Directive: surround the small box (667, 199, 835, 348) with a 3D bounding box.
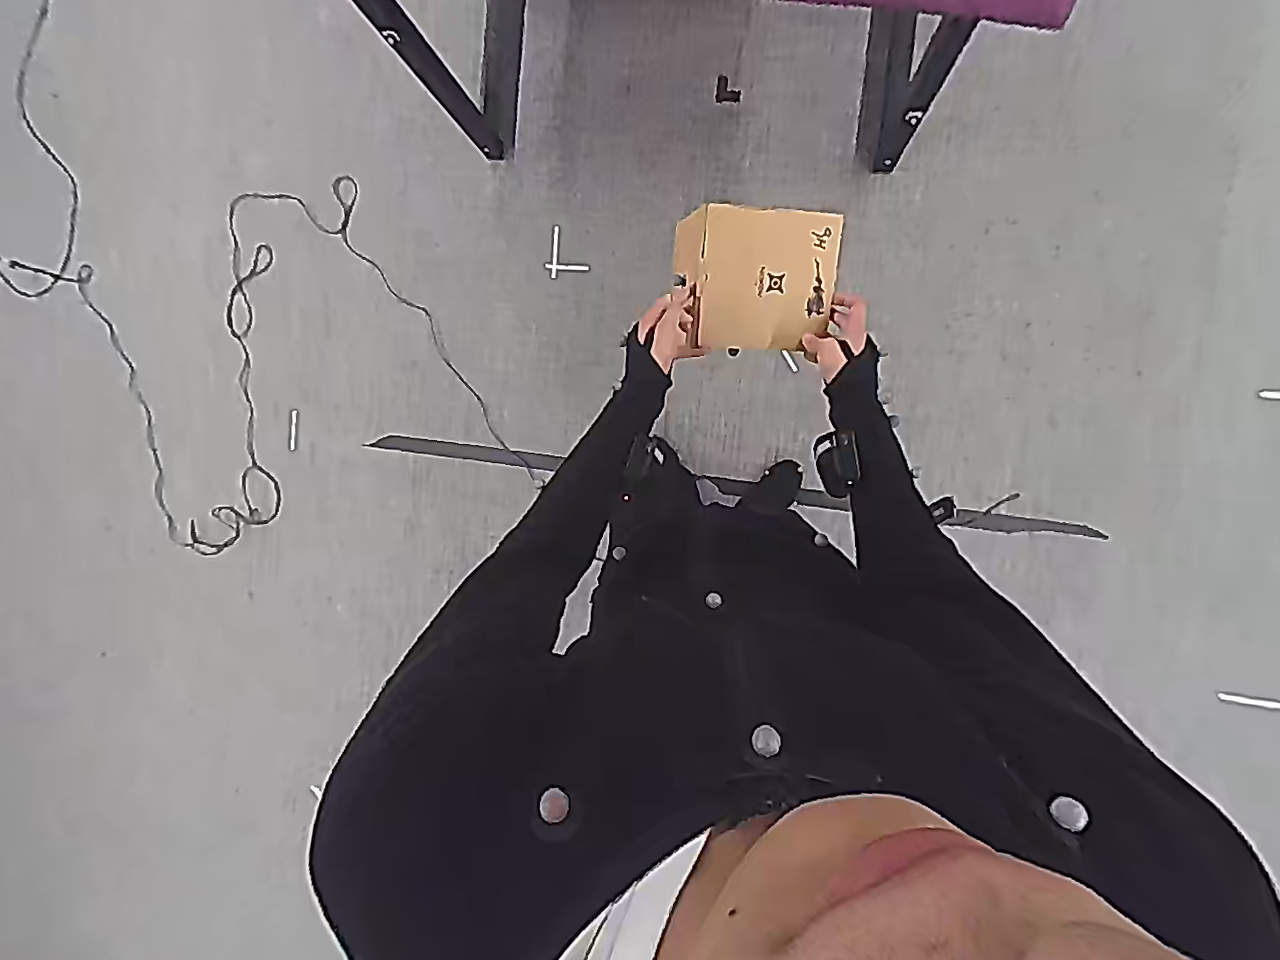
[{"bbox_3d":[0.138,-0.271,0.742,0.179,0.176,0.168,0,106,-8],"label":"small box"}]

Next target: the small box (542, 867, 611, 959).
[{"bbox_3d":[-0.188,1.346,1.658,0.168,0.176,0.179,7,92,8],"label":"small box"}]
